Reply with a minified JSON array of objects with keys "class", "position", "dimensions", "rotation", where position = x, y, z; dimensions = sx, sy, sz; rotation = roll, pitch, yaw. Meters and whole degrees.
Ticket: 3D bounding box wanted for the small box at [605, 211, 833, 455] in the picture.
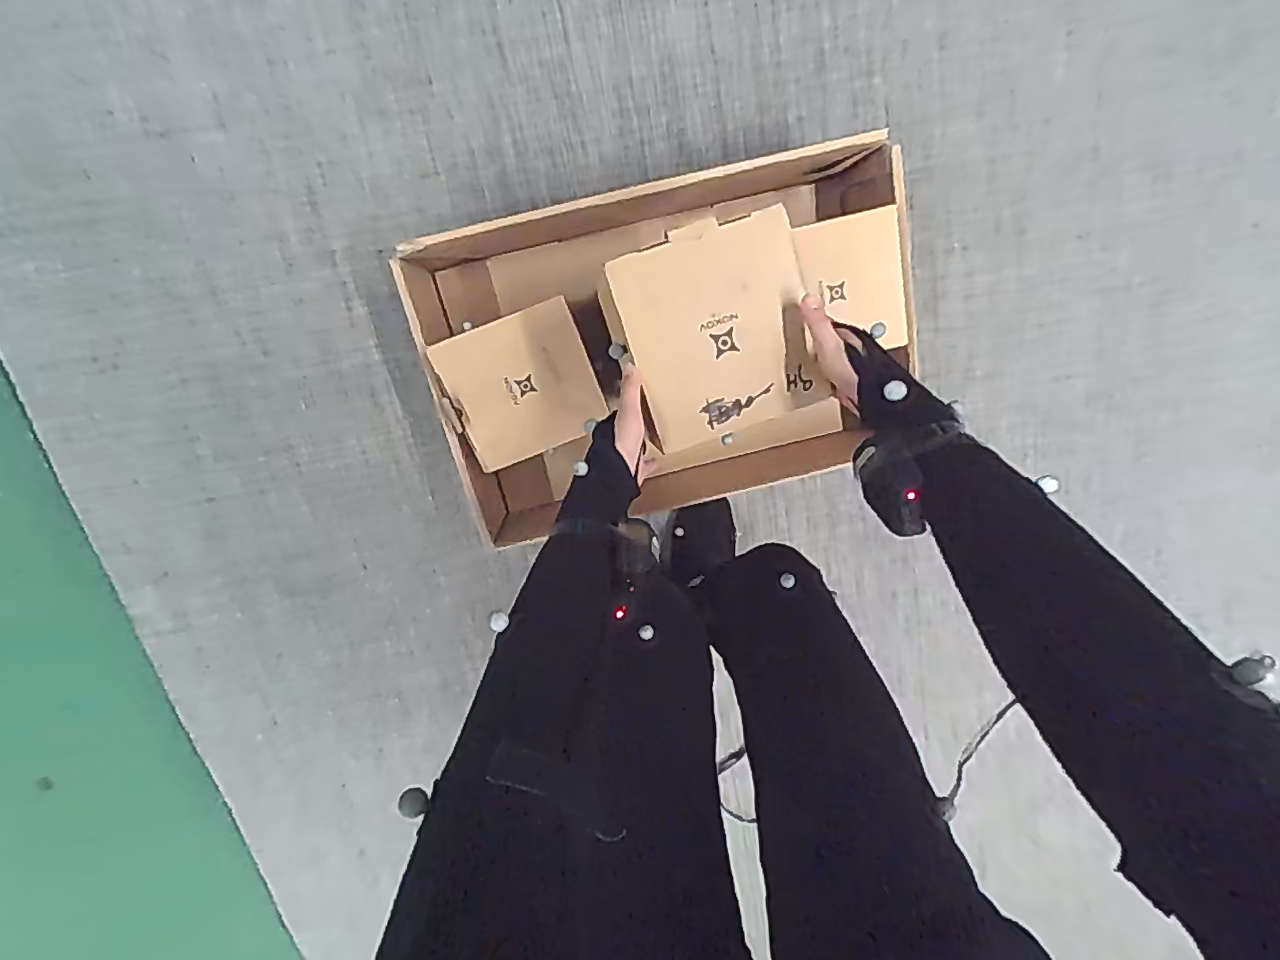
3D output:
[{"class":"small box","position":[0.066,-0.138,0.552],"dimensions":[0.168,0.176,0.179],"rotation":[-19,101,-2]}]
